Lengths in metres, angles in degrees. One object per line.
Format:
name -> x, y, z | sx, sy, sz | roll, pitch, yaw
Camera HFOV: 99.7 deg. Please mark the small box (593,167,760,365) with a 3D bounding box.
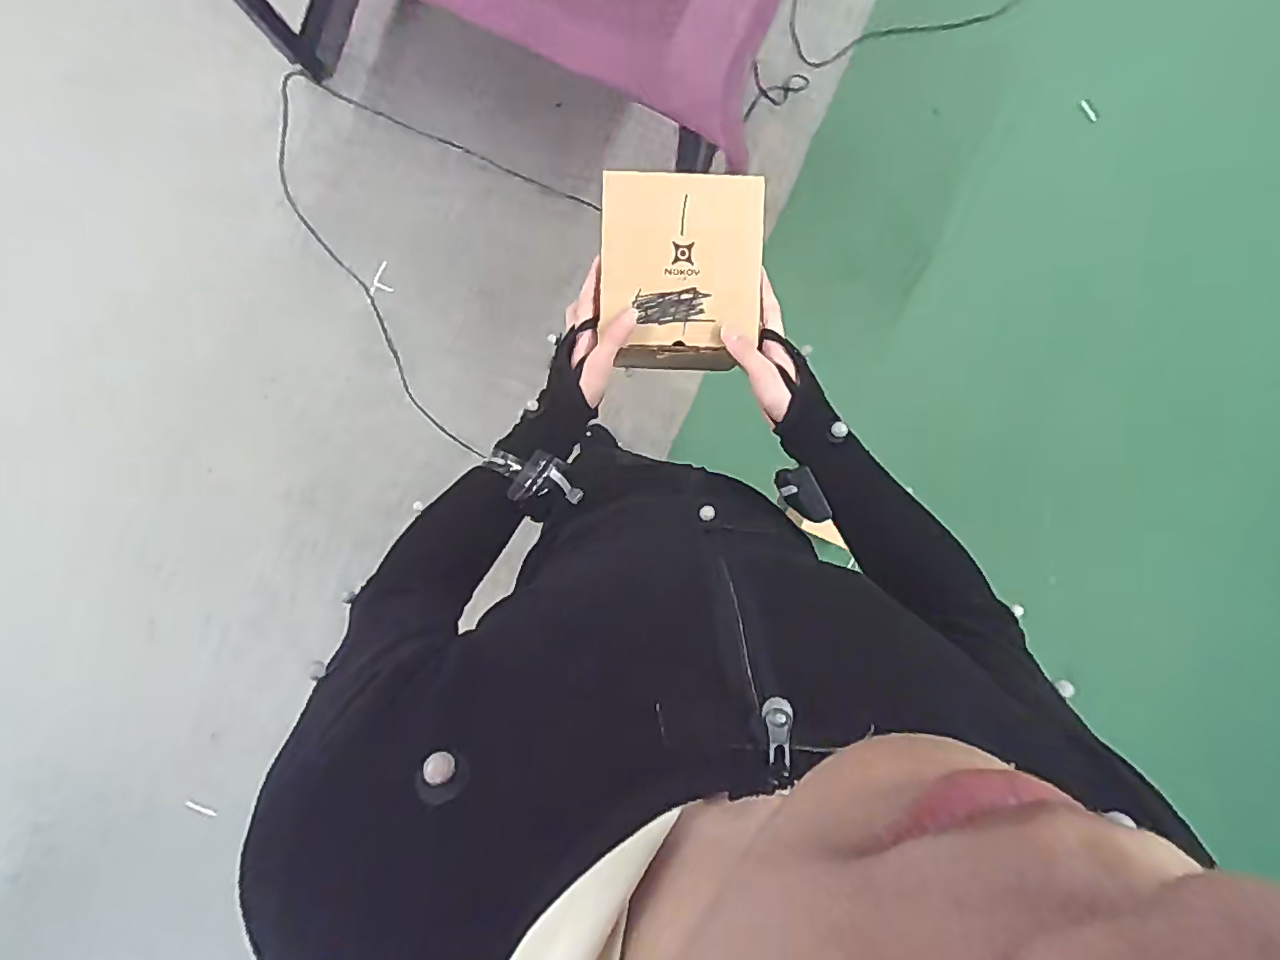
small box -> 0.036, -0.229, 0.621 | 0.168, 0.176, 0.179 | 1, 94, -1
